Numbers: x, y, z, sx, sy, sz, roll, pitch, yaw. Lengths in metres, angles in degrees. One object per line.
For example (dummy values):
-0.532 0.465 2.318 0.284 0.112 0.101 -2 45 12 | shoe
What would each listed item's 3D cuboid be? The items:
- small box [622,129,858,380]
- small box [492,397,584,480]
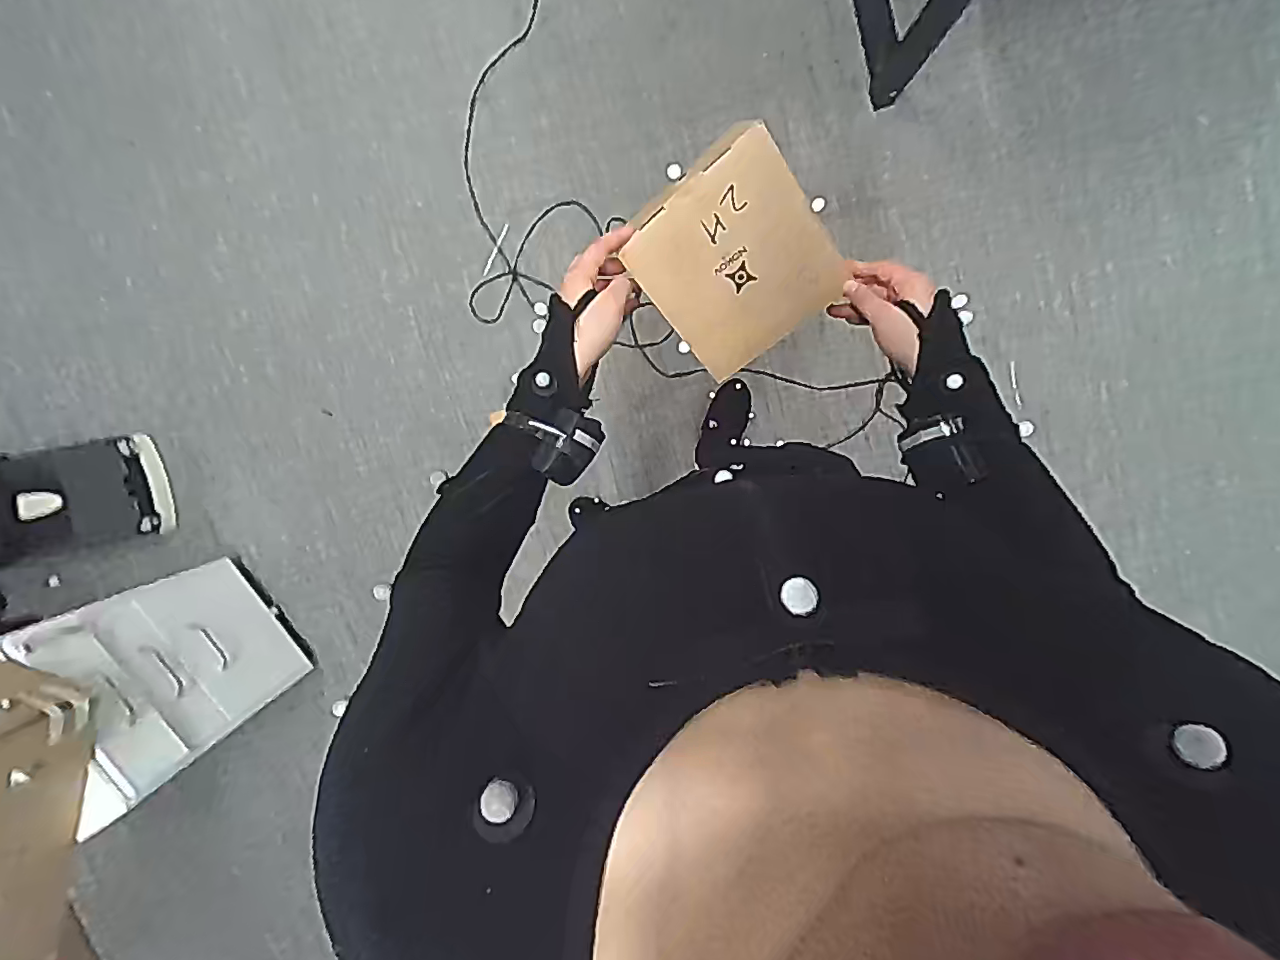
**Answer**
0.102 -0.247 0.586 0.168 0.176 0.179 -34 115 22 | small box
-0.253 -0.114 1.397 0.179 0.176 0.168 -19 97 5 | small box
